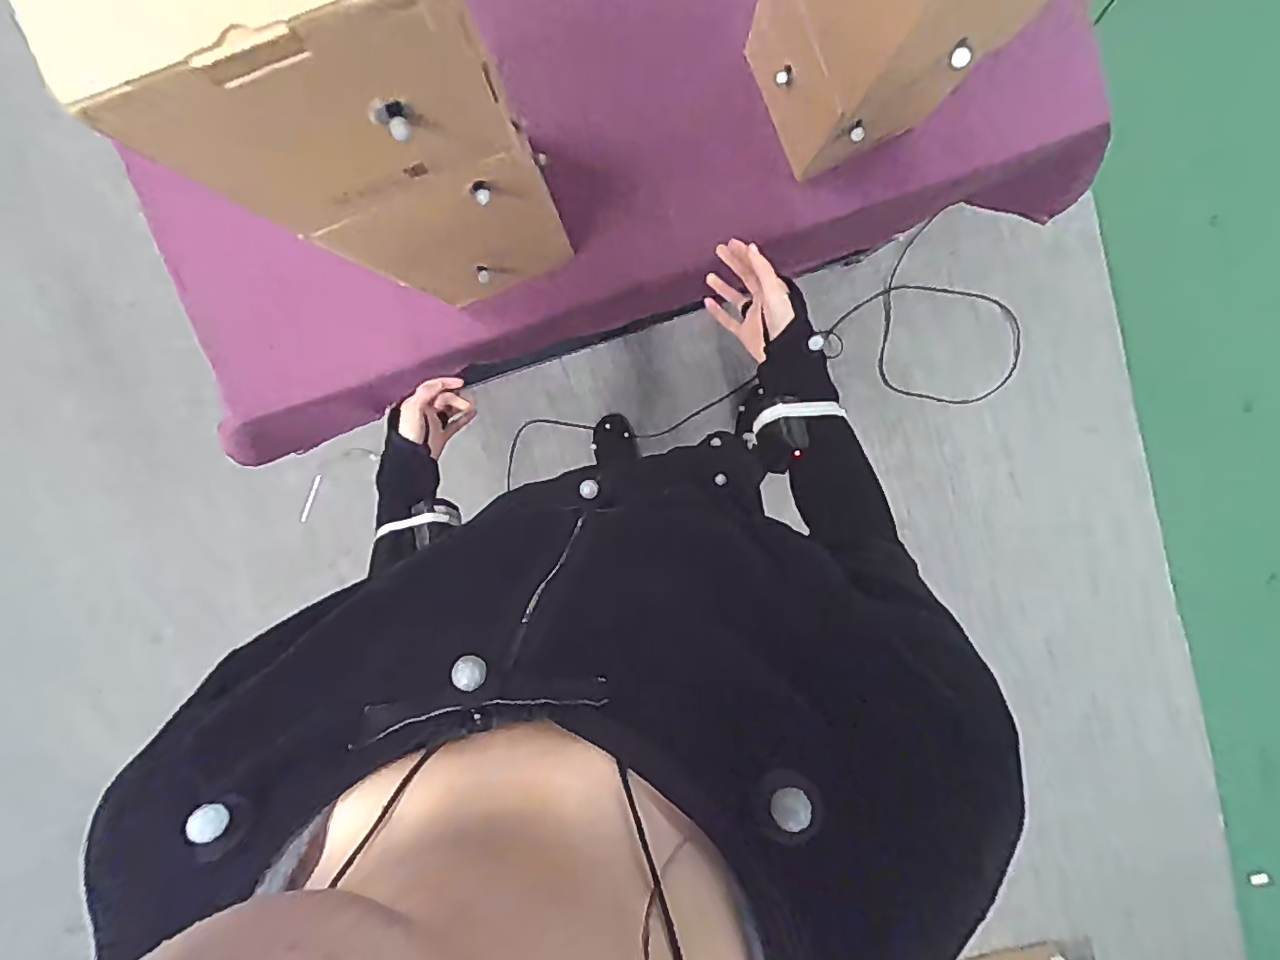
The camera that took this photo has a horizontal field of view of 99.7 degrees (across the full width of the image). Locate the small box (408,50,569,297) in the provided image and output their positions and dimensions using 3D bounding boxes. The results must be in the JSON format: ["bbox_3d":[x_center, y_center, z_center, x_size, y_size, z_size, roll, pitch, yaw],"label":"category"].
[{"bbox_3d":[-0.199,-0.327,0.620,0.179,0.176,0.168,-21,98,4],"label":"small box"}]

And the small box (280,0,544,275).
[{"bbox_3d":[-0.201,-0.297,0.460,0.179,0.176,0.168,-21,97,3],"label":"small box"}]

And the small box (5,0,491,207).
[{"bbox_3d":[-0.202,-0.277,0.298,0.168,0.176,0.179,-19,97,2],"label":"small box"}]

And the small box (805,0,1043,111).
[{"bbox_3d":[0.236,-0.449,0.428,0.168,0.176,0.179,-24,97,5],"label":"small box"}]
